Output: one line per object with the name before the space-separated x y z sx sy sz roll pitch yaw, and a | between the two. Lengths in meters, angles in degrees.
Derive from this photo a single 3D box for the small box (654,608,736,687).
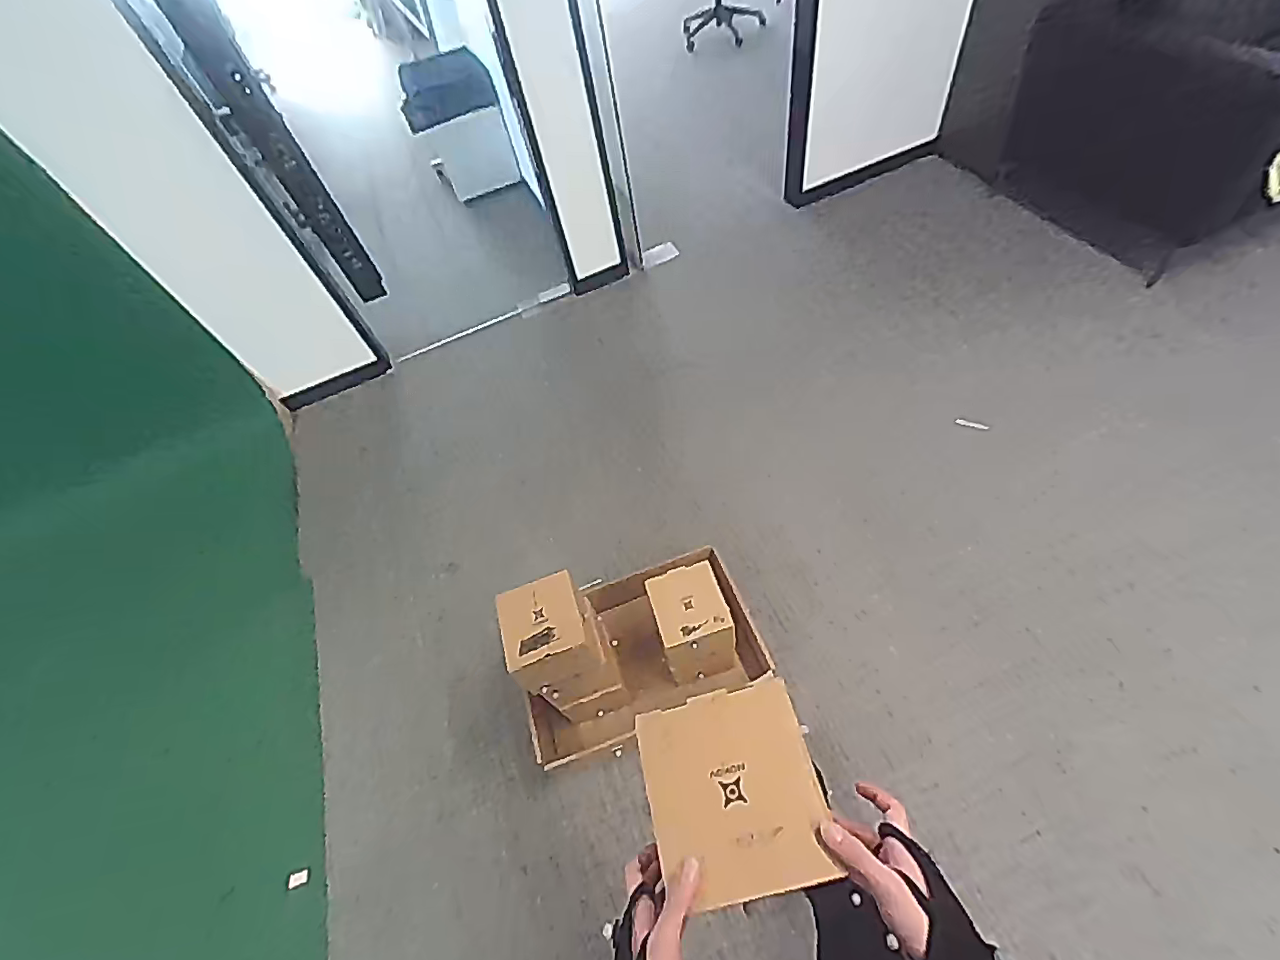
small box | 0.146 0.424 1.444 0.168 0.176 0.179 -20 54 -3

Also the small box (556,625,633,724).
small box | -0.128 0.519 1.432 0.168 0.176 0.179 -20 53 -3

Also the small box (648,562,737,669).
small box | 0.128 0.330 1.310 0.168 0.176 0.179 -18 53 -2

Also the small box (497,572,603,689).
small box | -0.190 0.333 1.169 0.168 0.176 0.179 -20 52 -4

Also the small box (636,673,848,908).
small box | 0.103 0.336 0.587 0.168 0.176 0.179 -16 53 3
